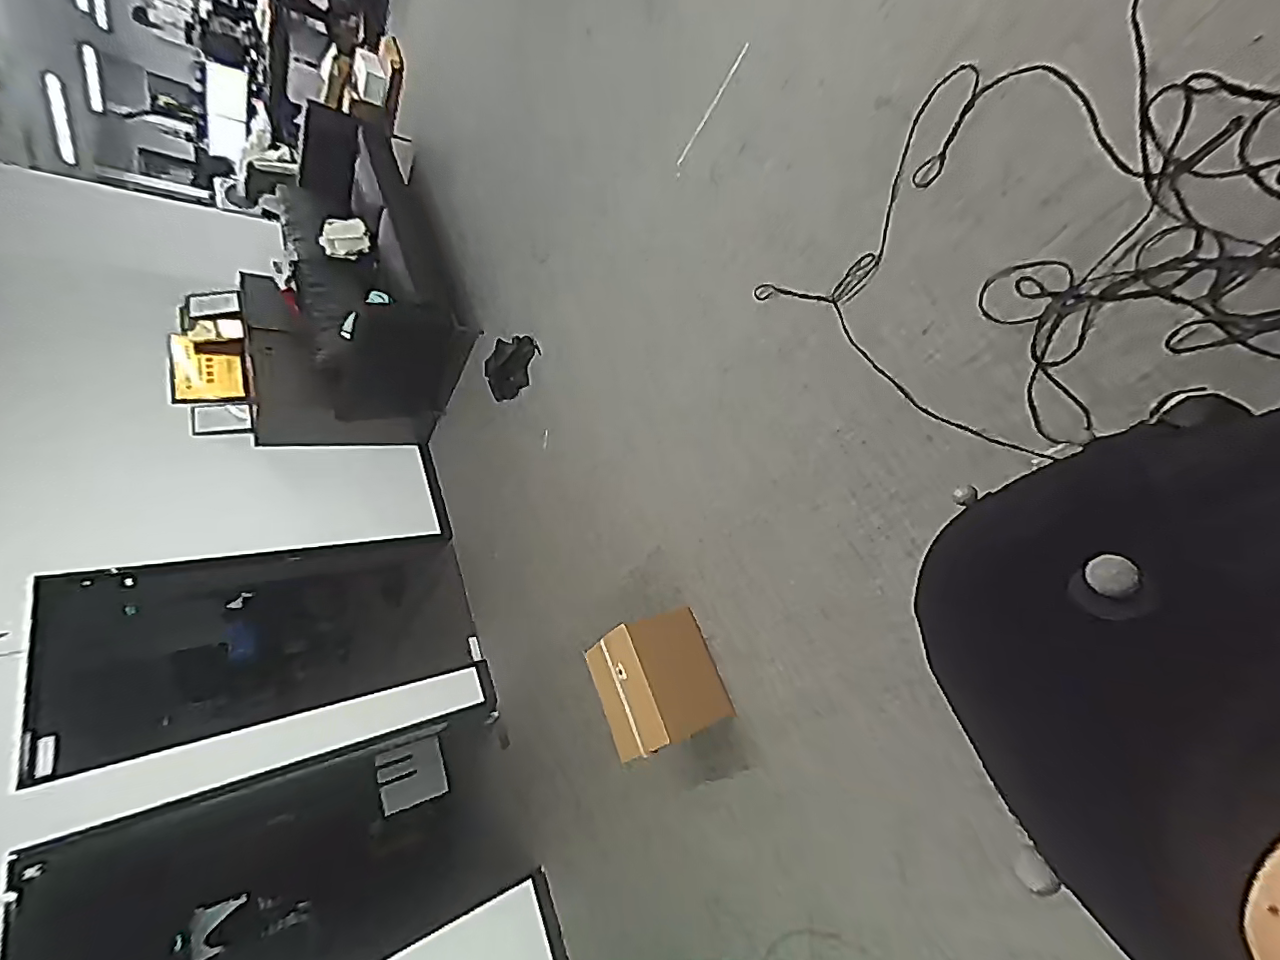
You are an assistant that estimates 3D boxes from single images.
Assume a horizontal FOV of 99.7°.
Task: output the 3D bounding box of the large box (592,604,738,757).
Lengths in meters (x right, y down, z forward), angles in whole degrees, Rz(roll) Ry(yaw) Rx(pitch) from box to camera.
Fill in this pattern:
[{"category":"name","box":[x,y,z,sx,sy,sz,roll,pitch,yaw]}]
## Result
[{"category":"large box","box":[0.082,0.713,1.951,0.320,0.320,0.408,-48,56,41]}]
